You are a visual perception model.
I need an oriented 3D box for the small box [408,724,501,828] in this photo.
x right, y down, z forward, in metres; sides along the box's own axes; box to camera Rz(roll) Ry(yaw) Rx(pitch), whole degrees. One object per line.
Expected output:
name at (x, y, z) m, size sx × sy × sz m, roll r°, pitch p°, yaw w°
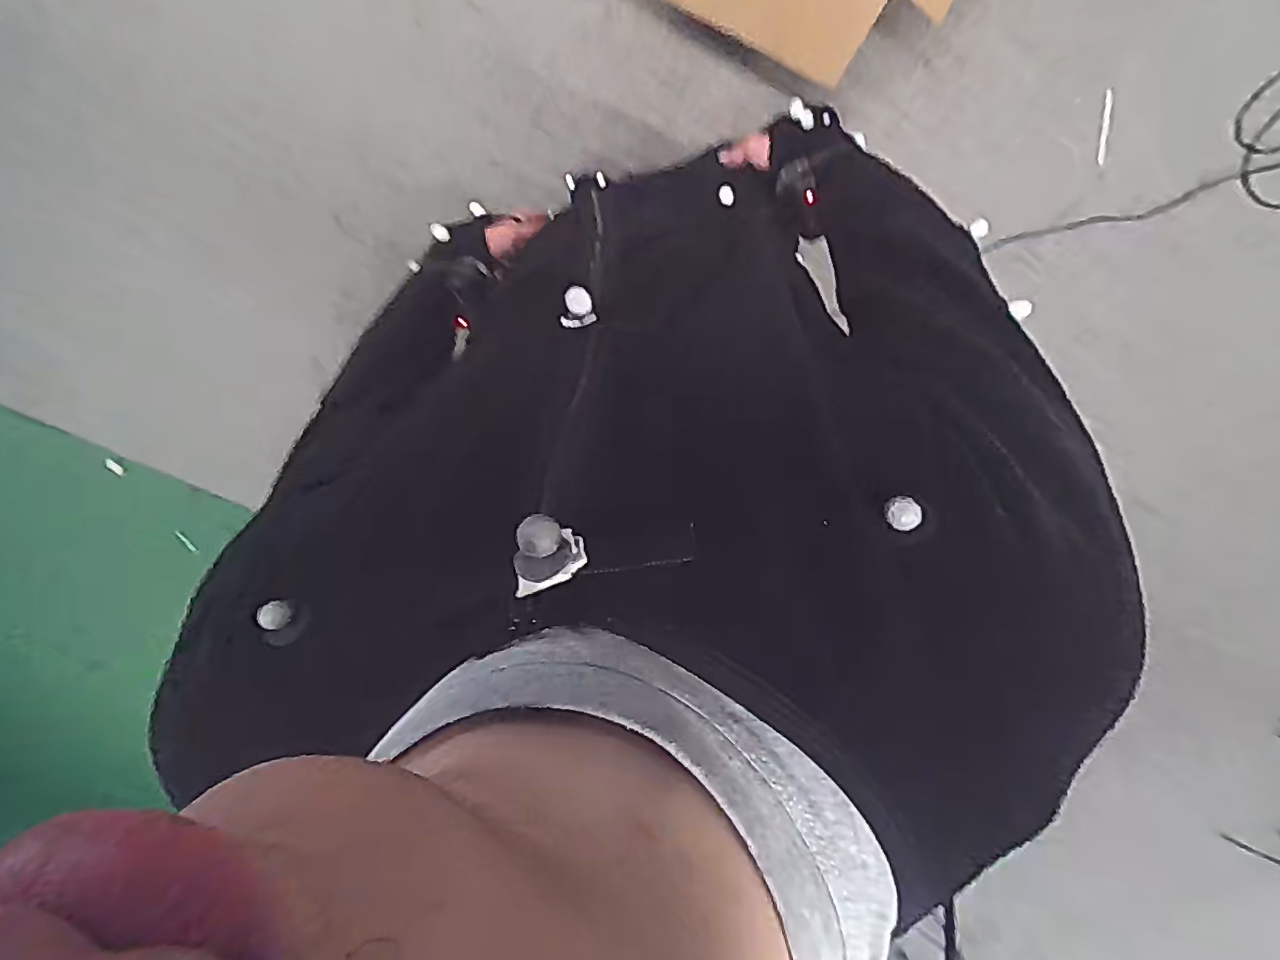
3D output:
small box at (-0.483, 0.780, 1.426) m, size 0.168 × 0.176 × 0.179 m, roll 23°, pitch 124°, yaw -13°
